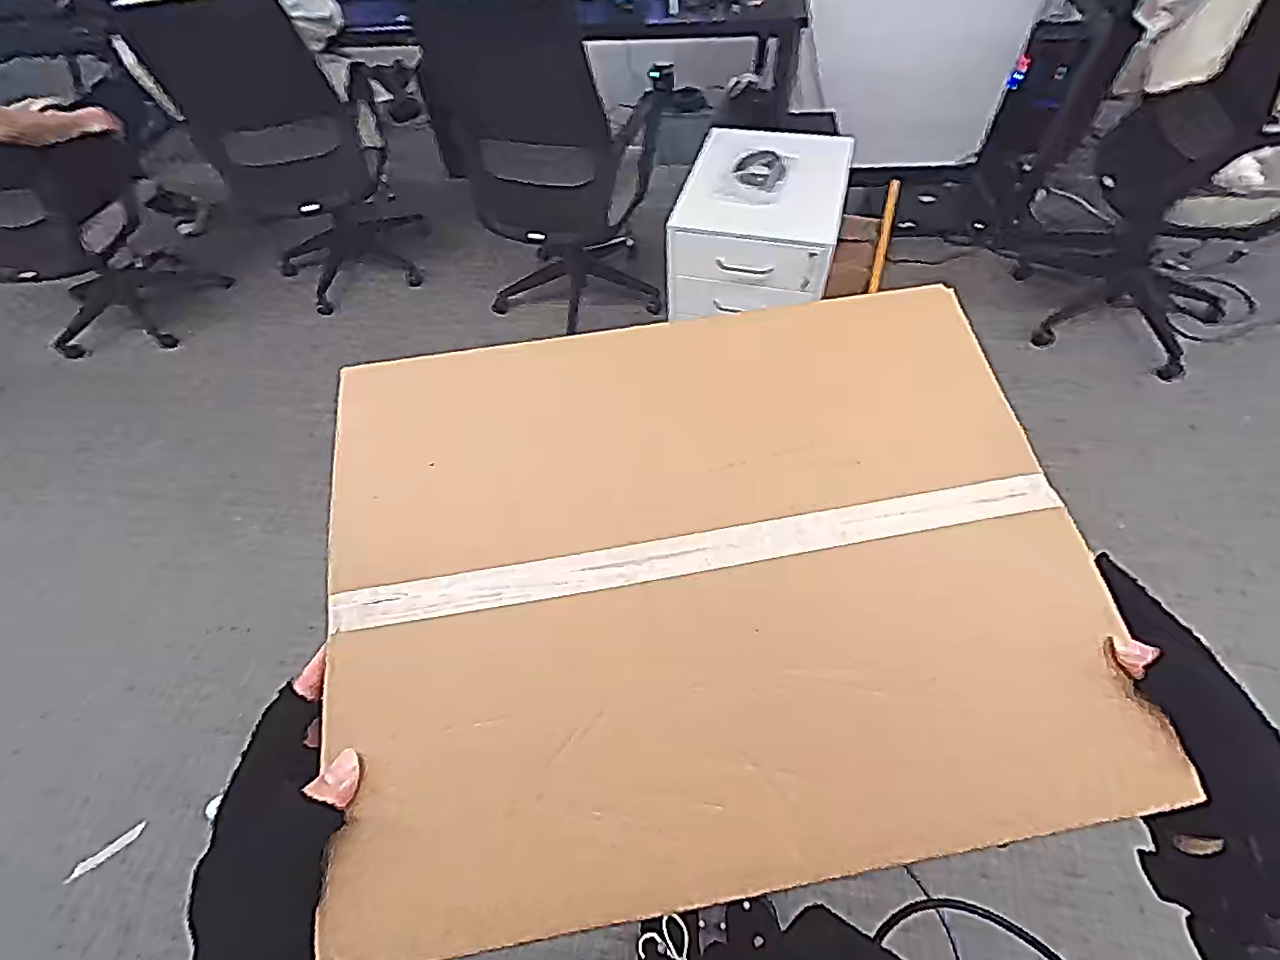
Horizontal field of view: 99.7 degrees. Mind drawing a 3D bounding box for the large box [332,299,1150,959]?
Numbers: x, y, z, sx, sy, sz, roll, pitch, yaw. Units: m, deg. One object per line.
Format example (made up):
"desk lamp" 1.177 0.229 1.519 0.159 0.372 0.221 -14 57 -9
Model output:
"large box" 0.034 0.103 0.443 0.408 0.320 0.320 -10 68 -3
